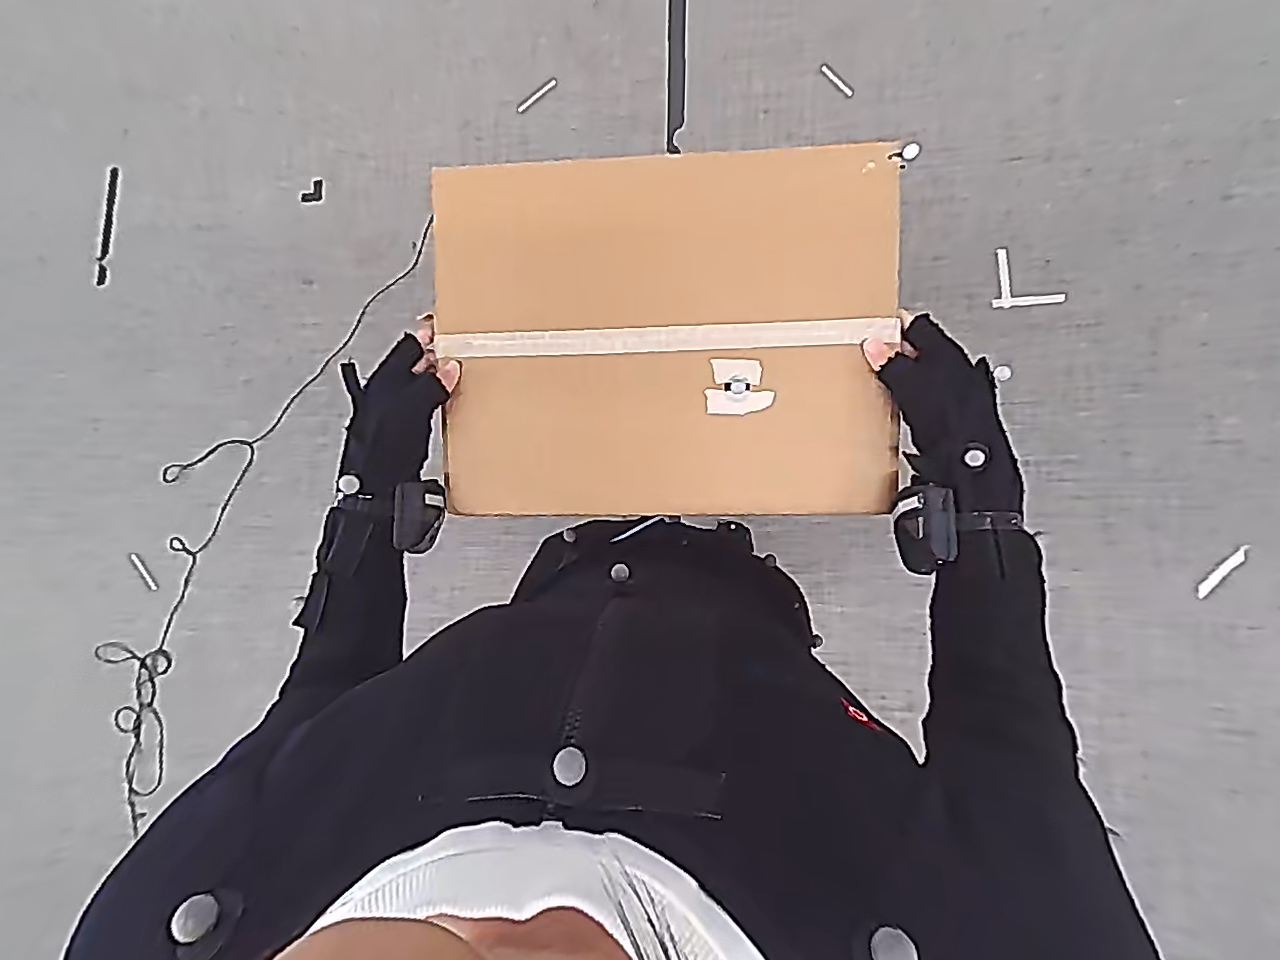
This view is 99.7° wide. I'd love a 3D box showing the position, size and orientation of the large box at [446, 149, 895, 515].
[{"bbox_3d":[0.033,-0.135,0.637,0.408,0.320,0.320,-1,94,4],"label":"large box"}]
